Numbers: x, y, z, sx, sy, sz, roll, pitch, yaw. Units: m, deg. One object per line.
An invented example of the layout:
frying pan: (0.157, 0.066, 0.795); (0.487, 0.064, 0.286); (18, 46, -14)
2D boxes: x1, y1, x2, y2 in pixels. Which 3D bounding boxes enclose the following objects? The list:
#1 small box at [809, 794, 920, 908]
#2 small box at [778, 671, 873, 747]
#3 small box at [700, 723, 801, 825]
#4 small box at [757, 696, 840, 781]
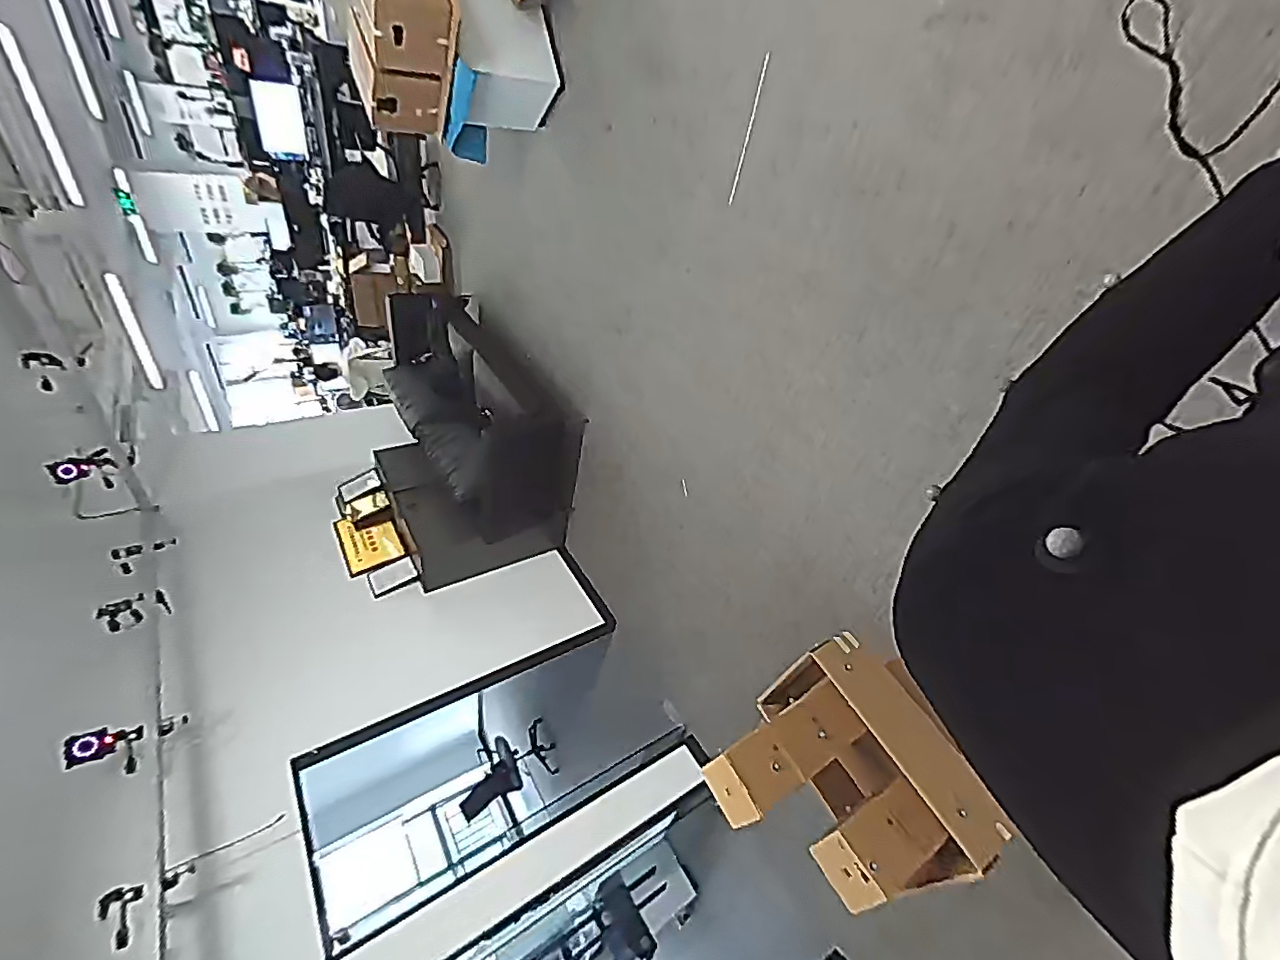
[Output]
small box: (0.581, 0.956, 1.400); (0.168, 0.176, 0.179); (50, 142, 31)
small box: (0.560, 0.707, 1.629); (0.168, 0.176, 0.179); (56, 144, 26)
small box: (0.298, 0.789, 1.456); (0.168, 0.176, 0.179); (55, 143, 26)
small box: (0.431, 0.749, 1.540); (0.168, 0.176, 0.179); (55, 143, 26)
